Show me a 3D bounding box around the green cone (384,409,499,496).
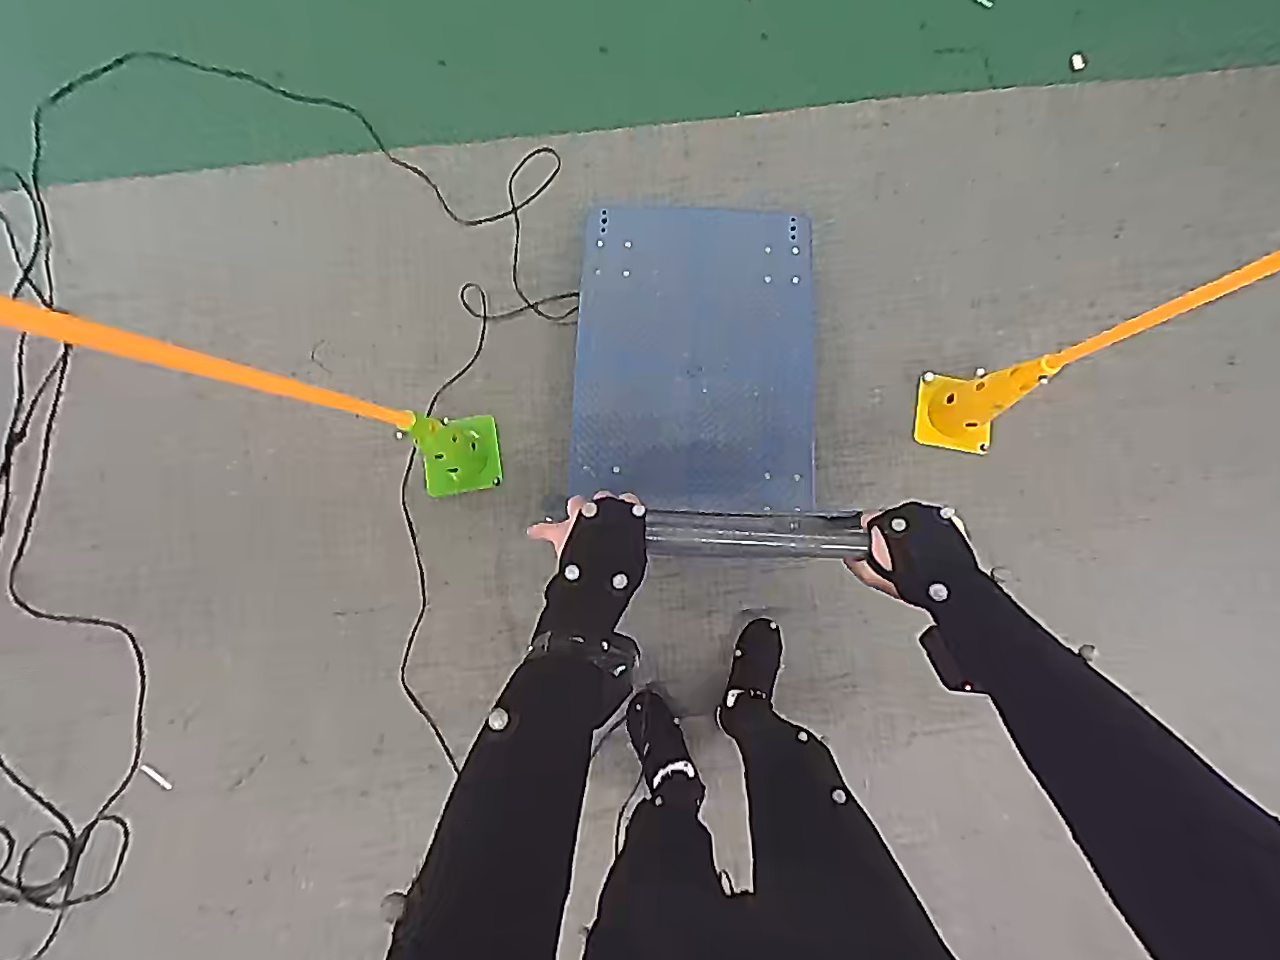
[{"bbox_3d":[-0.484,-0.098,1.257,0.202,0.368,0.200,-10,80,0],"label":"green cone"}]
